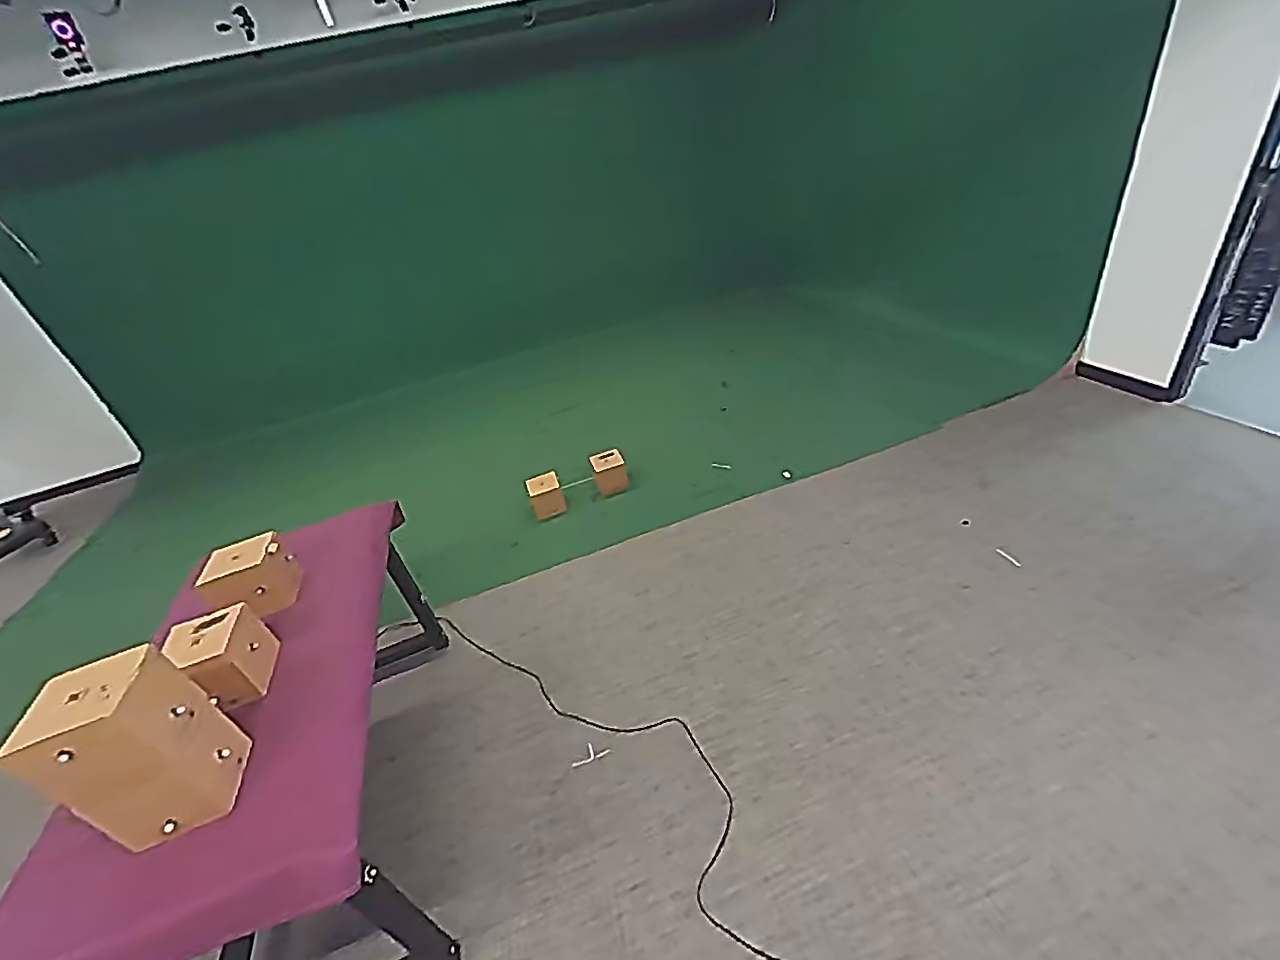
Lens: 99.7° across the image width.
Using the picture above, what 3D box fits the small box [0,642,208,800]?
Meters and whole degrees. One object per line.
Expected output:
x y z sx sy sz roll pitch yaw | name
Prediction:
-0.946 0.436 0.978 0.179 0.176 0.168 -19 34 -11 | small box

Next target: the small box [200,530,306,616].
-1.108 0.281 1.569 0.179 0.176 0.168 -20 33 -9 | small box

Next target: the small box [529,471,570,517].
-0.497 0.085 2.966 0.168 0.176 0.179 -20 33 -9 | small box

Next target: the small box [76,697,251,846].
-0.916 0.572 1.066 0.179 0.176 0.168 -19 33 -10 | small box

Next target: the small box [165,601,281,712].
-1.006 0.433 1.306 0.168 0.176 0.179 -20 35 -10 | small box
